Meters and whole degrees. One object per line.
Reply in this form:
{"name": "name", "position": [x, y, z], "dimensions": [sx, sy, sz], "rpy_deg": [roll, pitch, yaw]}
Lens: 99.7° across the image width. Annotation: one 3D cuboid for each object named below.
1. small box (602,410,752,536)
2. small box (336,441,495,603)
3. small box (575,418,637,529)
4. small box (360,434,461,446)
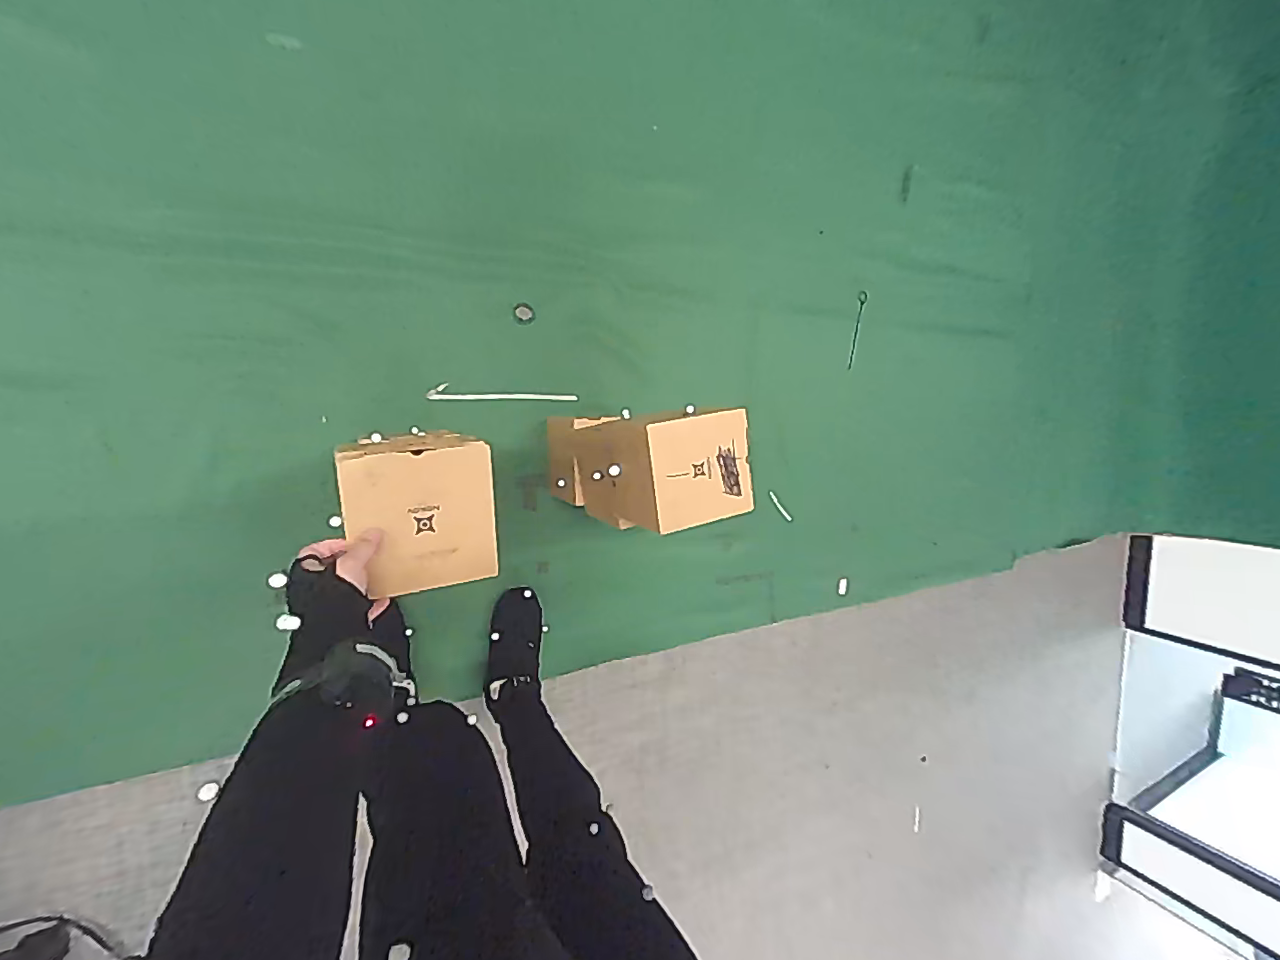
{"name": "small box", "position": [0.056, -0.022, 0.877], "dimensions": [0.179, 0.176, 0.168], "rpy_deg": [-12, 101, -24]}
{"name": "small box", "position": [-0.298, 0.040, 0.712], "dimensions": [0.168, 0.176, 0.179], "rpy_deg": [-8, 99, -26]}
{"name": "small box", "position": [-0.013, -0.023, 1.028], "dimensions": [0.168, 0.176, 0.179], "rpy_deg": [-15, 104, -23]}
{"name": "small box", "position": [-0.422, 0.007, 1.017], "dimensions": [0.168, 0.176, 0.179], "rpy_deg": [-7, 98, -25]}
